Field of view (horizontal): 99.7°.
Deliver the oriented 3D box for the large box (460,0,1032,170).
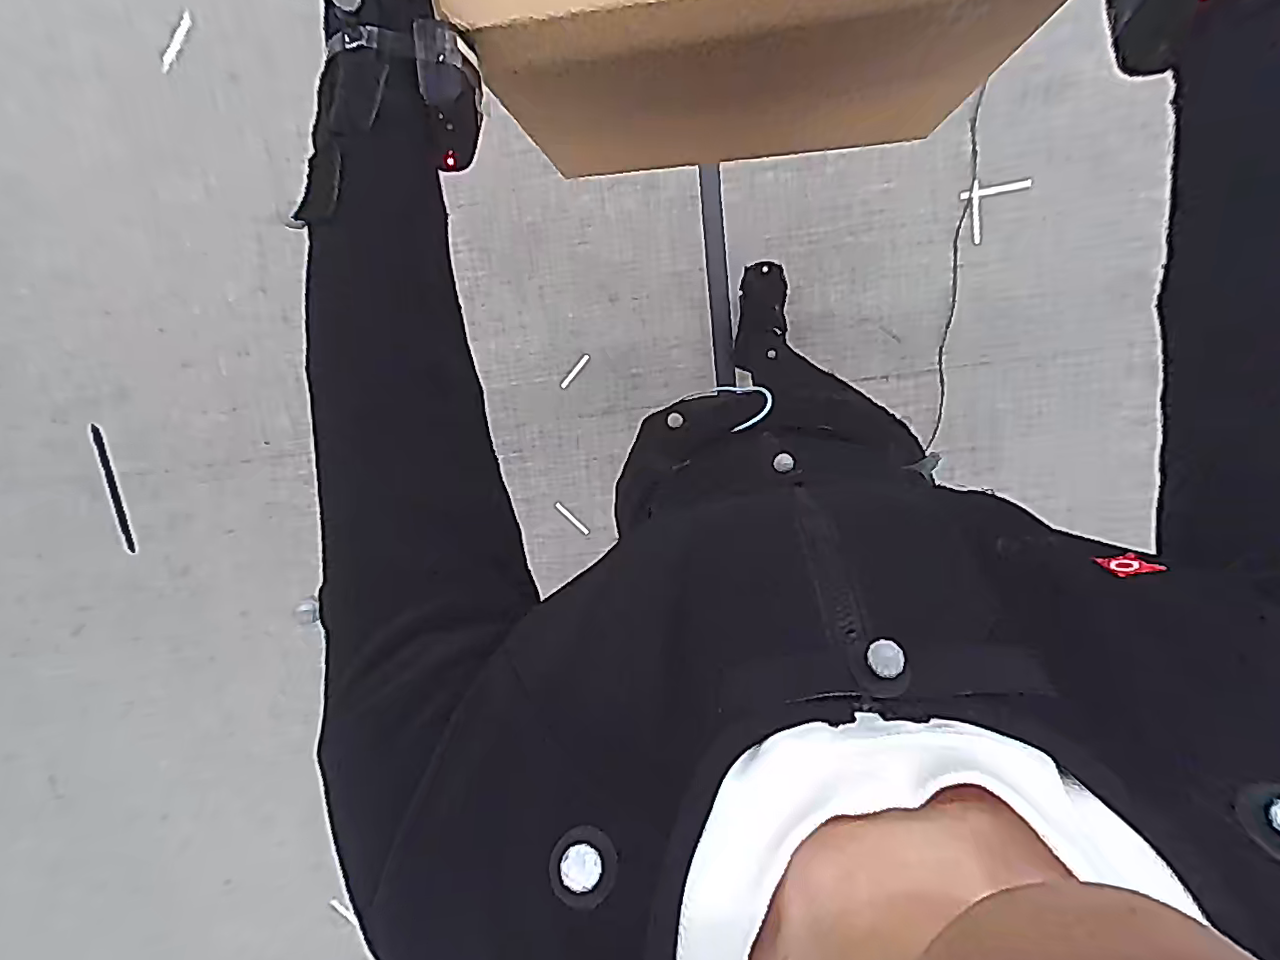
[{"bbox_3d":[0.080,-0.487,0.435,0.408,0.320,0.320,-3,104,7],"label":"large box"}]
